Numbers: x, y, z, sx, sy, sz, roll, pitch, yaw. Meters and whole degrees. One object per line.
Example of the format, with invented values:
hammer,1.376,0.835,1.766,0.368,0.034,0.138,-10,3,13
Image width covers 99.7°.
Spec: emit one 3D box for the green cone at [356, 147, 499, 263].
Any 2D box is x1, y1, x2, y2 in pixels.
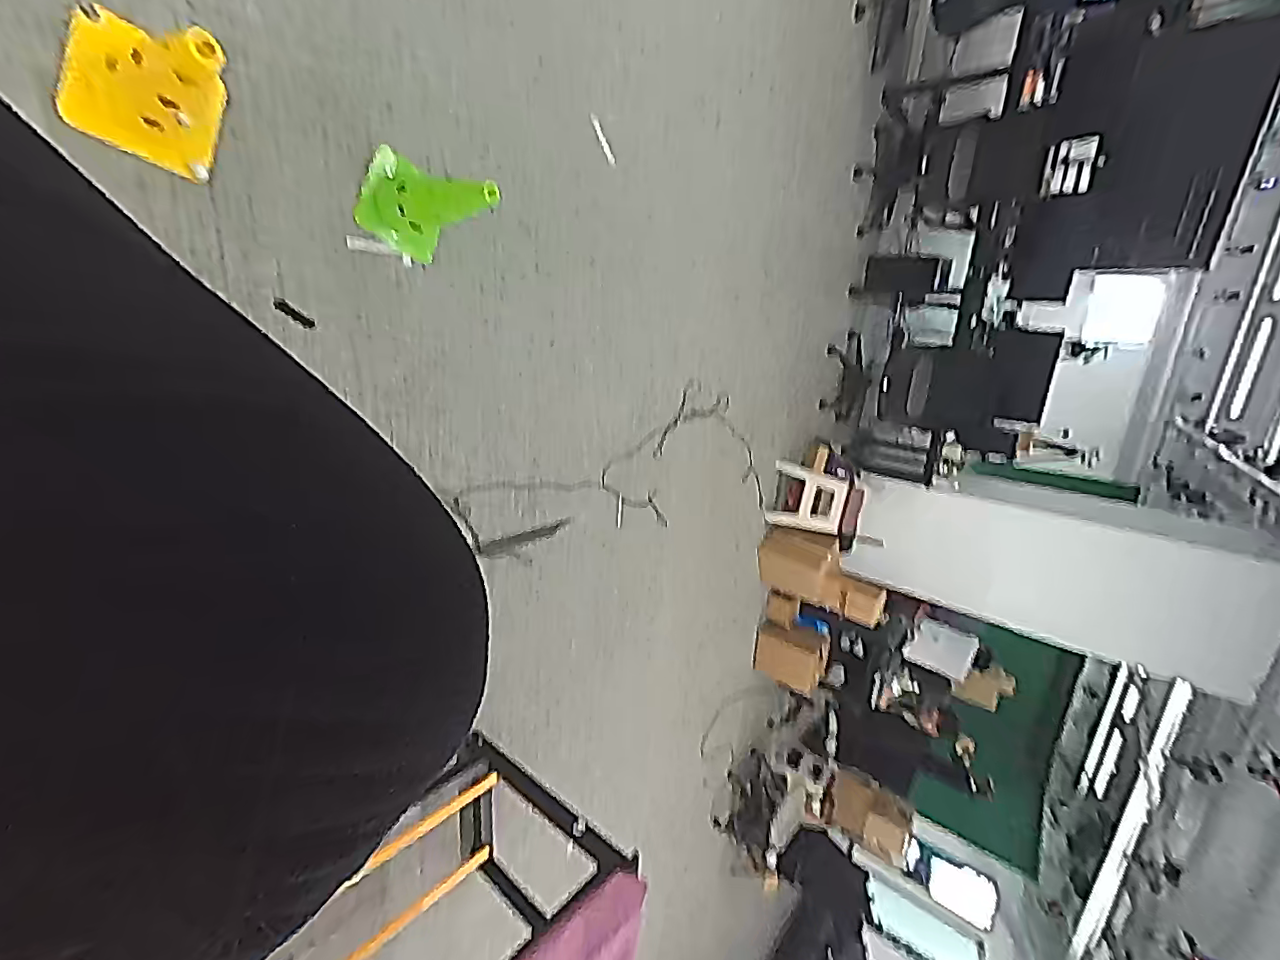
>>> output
green cone,-0.445,-0.627,1.223,0.200,0.368,0.202,21,87,-53
